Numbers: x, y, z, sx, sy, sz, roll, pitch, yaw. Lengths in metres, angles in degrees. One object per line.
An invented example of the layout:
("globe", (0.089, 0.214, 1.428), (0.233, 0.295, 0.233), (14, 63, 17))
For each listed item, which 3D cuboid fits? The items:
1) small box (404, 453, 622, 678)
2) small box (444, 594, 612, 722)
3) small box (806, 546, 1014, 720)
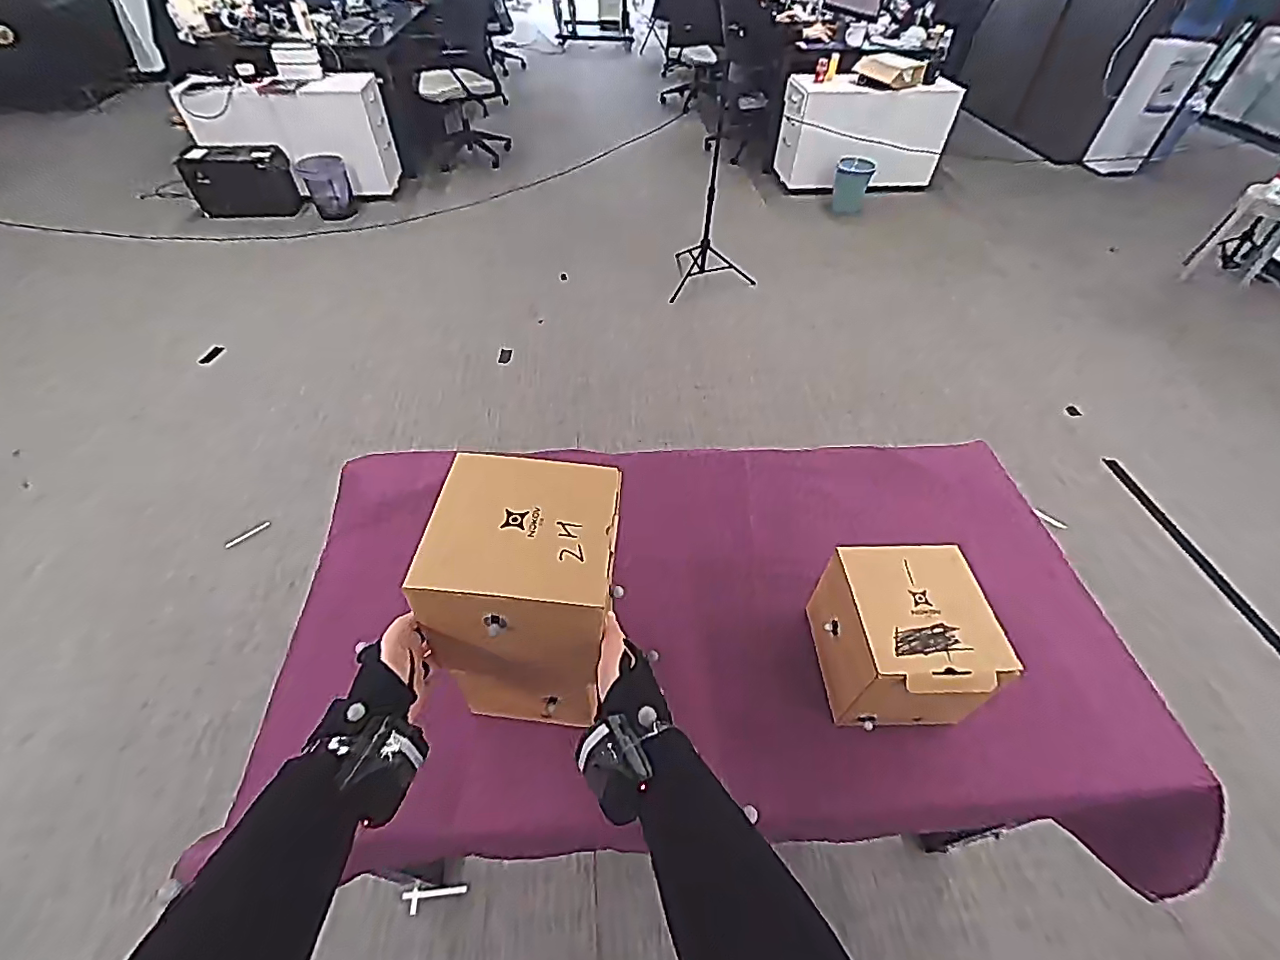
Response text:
("small box", (-0.118, 0.094, 0.573), (0.179, 0.176, 0.168), (7, 48, -2))
("small box", (-0.130, 0.197, 0.709), (0.168, 0.176, 0.179), (7, 48, 3))
("small box", (0.335, 0.206, 0.714), (0.168, 0.176, 0.179), (0, 47, -2))
